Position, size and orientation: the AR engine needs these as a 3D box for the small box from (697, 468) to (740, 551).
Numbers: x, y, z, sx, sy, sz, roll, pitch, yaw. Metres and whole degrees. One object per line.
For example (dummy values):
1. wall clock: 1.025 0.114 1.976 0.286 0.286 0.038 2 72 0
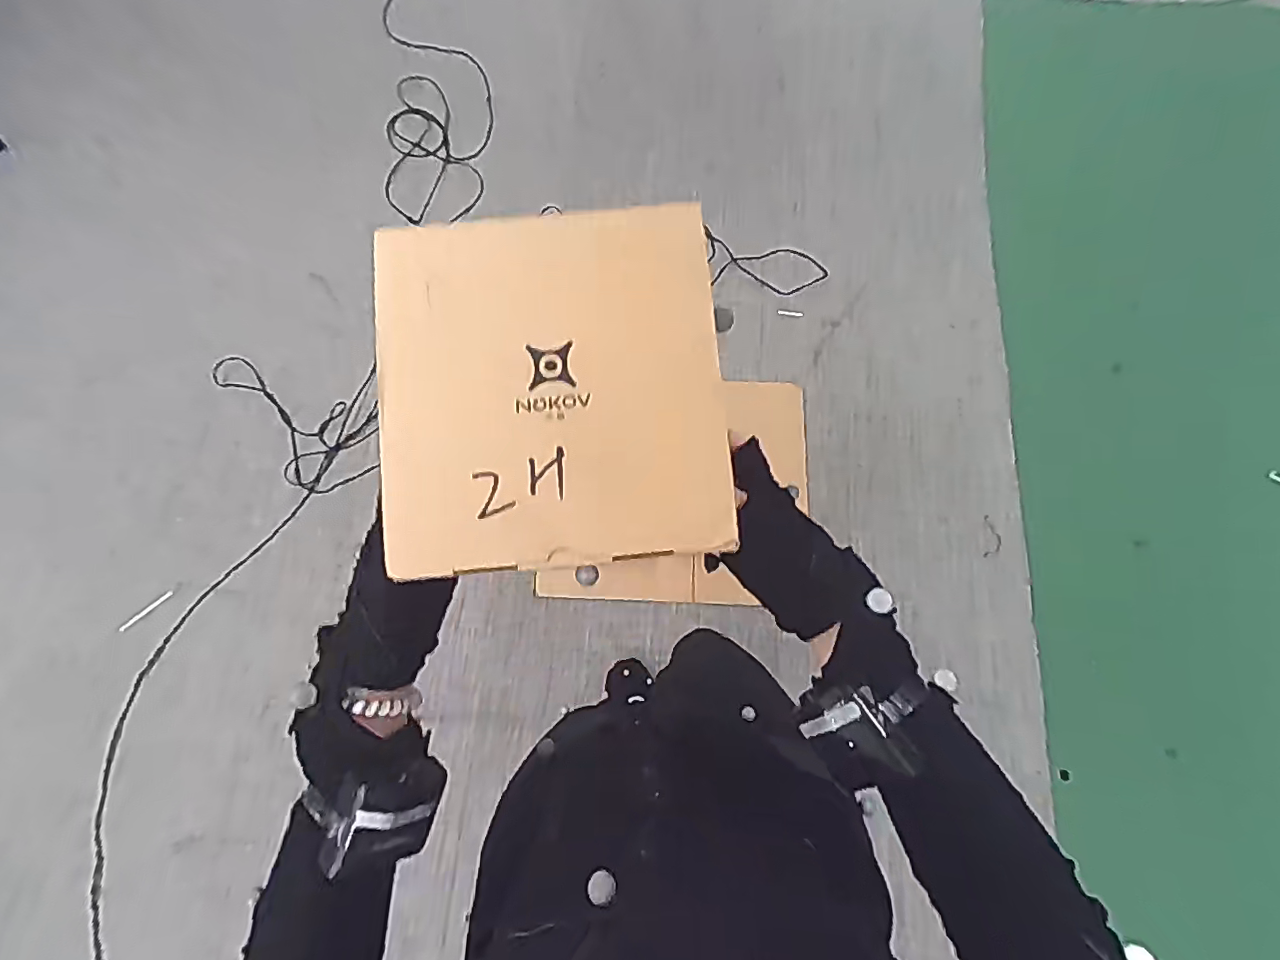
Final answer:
1. small box: 0.147 0.075 1.325 0.168 0.176 0.179 1 75 0

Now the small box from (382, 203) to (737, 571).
1. small box: -0.042 -0.039 0.340 0.168 0.176 0.179 -5 84 0
